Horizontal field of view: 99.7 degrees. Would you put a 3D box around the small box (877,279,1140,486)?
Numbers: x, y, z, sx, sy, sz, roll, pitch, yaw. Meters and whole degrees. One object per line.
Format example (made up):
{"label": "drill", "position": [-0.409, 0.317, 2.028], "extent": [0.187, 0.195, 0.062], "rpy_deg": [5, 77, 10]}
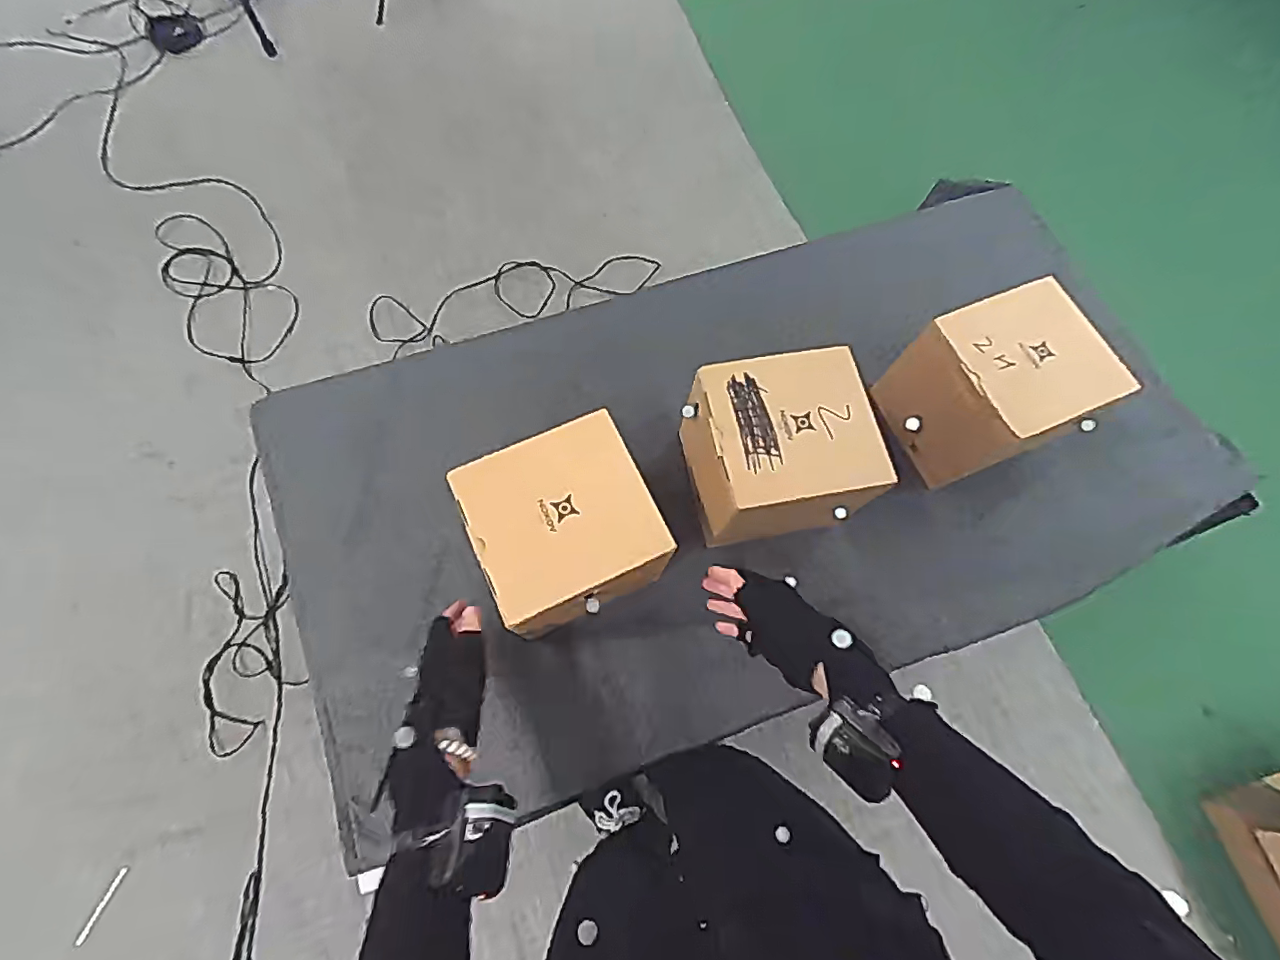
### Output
{"label": "small box", "position": [0.442, -0.114, 0.681], "extent": [0.179, 0.176, 0.168], "rpy_deg": [-21, 72, -10]}

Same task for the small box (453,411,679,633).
{"label": "small box", "position": [-0.077, 0.055, 0.599], "extent": [0.179, 0.176, 0.168], "rpy_deg": [-24, 74, -10]}
